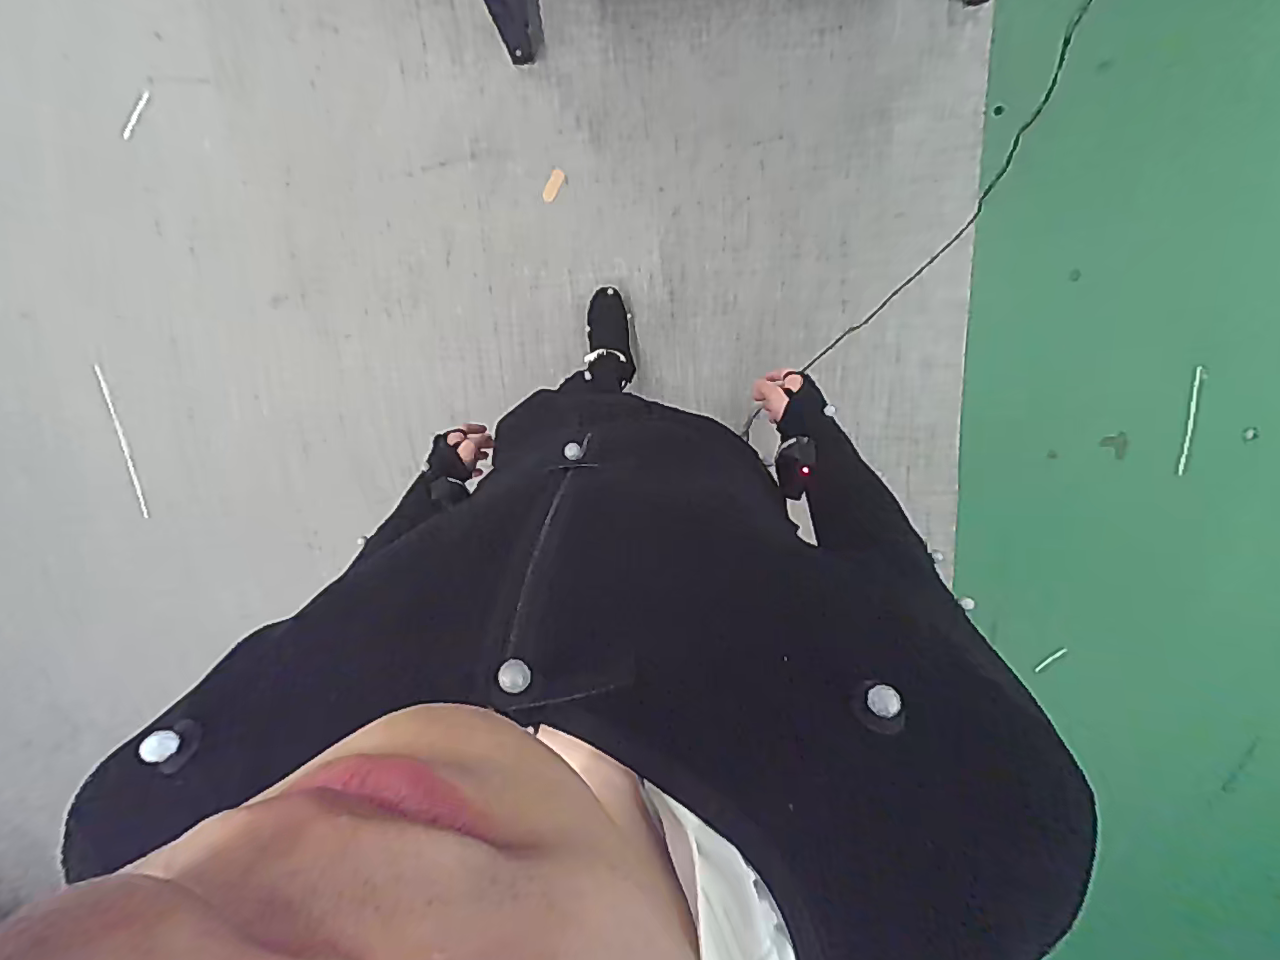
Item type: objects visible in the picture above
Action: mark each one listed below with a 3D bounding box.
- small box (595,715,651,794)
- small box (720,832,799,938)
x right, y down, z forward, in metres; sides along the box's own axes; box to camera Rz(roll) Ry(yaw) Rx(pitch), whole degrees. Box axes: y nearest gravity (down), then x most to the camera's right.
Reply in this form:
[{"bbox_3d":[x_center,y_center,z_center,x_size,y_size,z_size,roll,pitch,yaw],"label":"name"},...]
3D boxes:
[{"bbox_3d":[-0.054,0.899,1.784,0.179,0.176,0.168,2,105,0],"label":"small box"},{"bbox_3d":[0.321,1.105,1.484,0.179,0.176,0.168,3,104,2],"label":"small box"}]
